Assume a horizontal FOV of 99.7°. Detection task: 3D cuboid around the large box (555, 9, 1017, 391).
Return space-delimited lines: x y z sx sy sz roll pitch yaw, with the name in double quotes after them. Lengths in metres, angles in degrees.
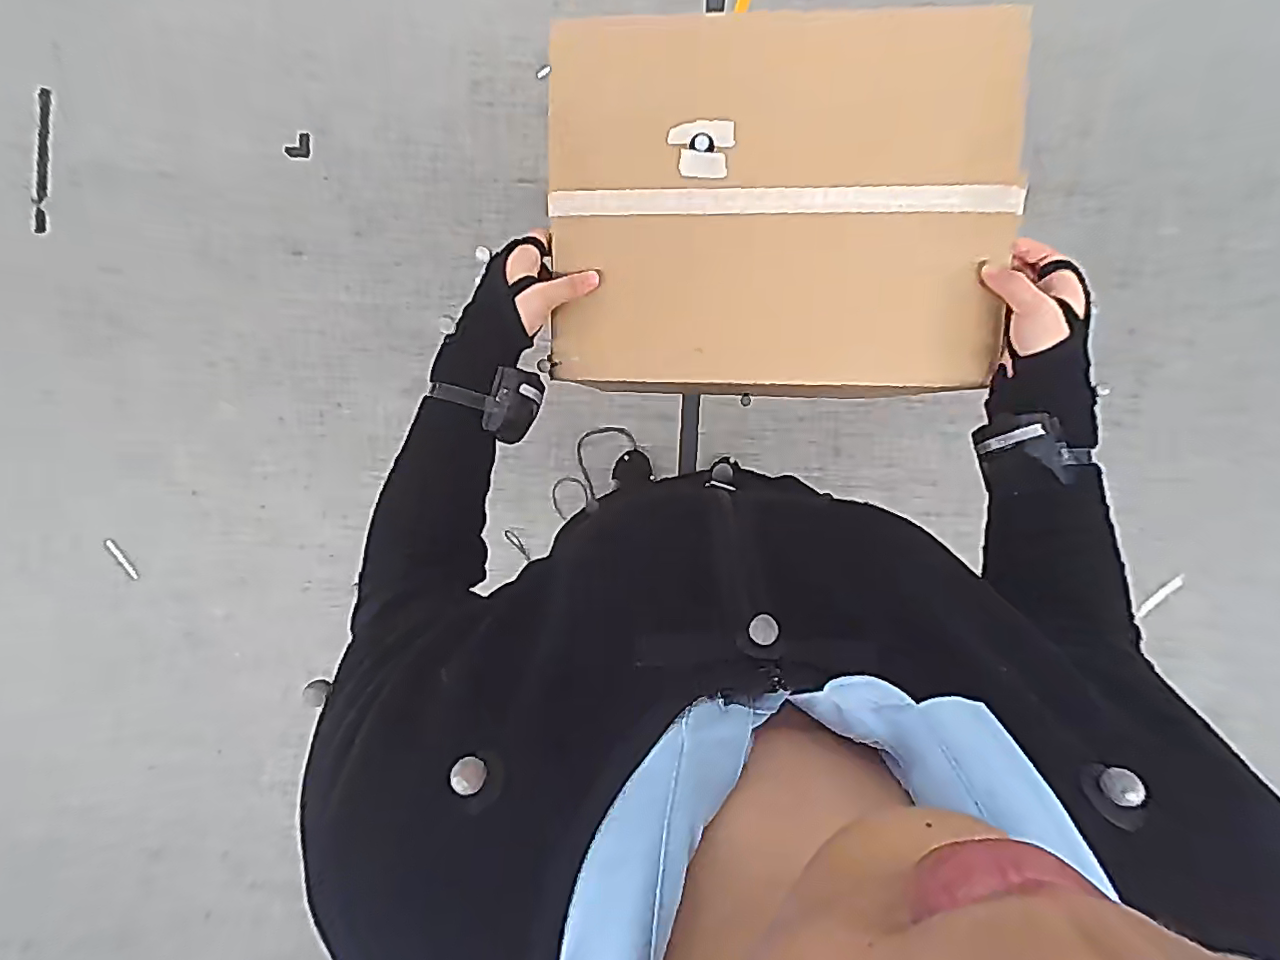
0.135 -0.264 0.636 0.408 0.320 0.320 2 96 5 "large box"
